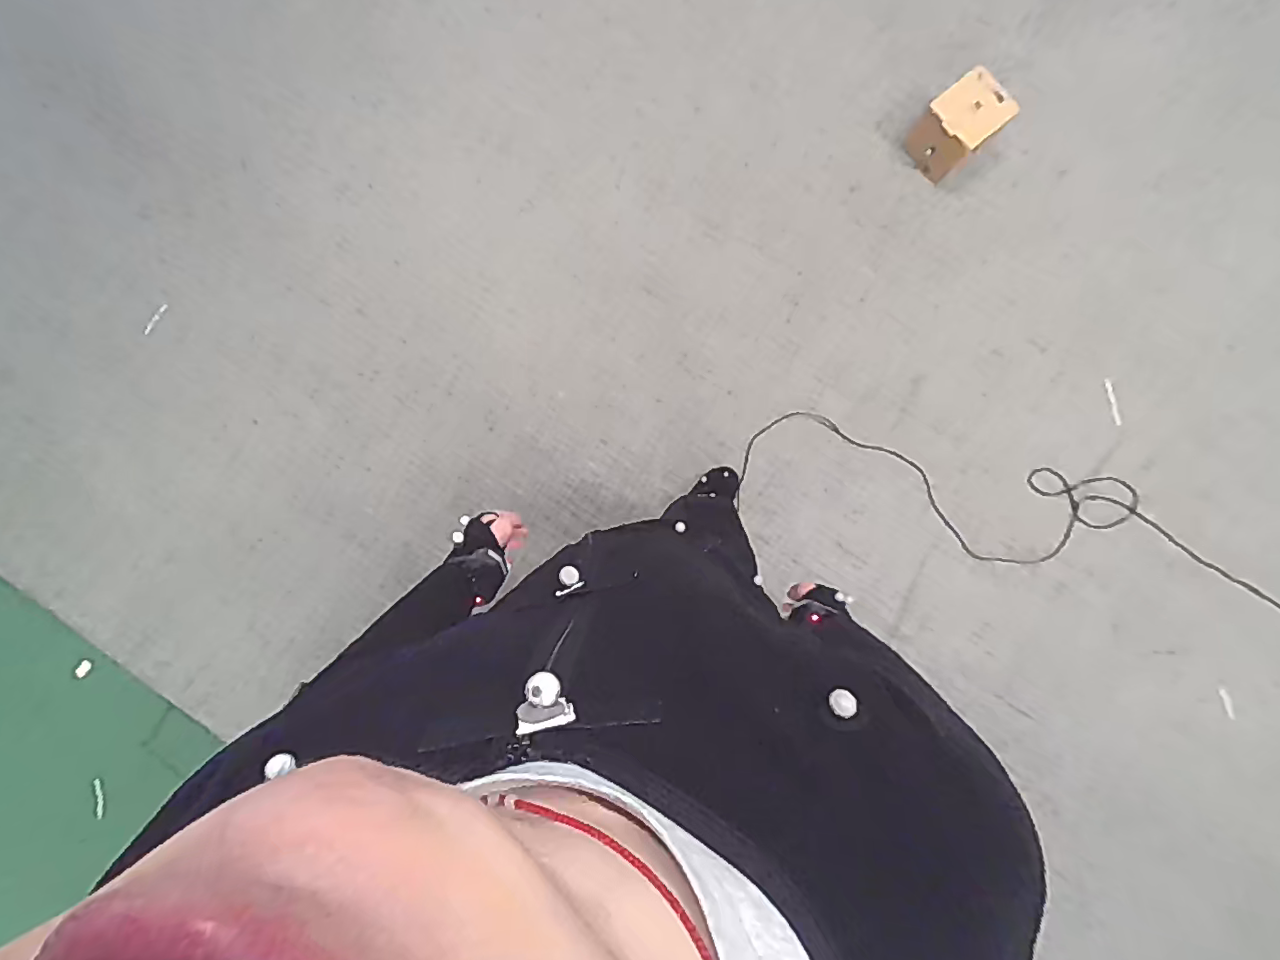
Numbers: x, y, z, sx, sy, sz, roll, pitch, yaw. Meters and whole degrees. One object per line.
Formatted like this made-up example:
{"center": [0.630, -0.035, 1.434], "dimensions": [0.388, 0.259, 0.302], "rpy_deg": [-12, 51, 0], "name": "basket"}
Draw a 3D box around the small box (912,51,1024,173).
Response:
{"center": [0.872, -0.985, 1.466], "dimensions": [0.179, 0.176, 0.168], "rpy_deg": [-39, 87, 1], "name": "small box"}
